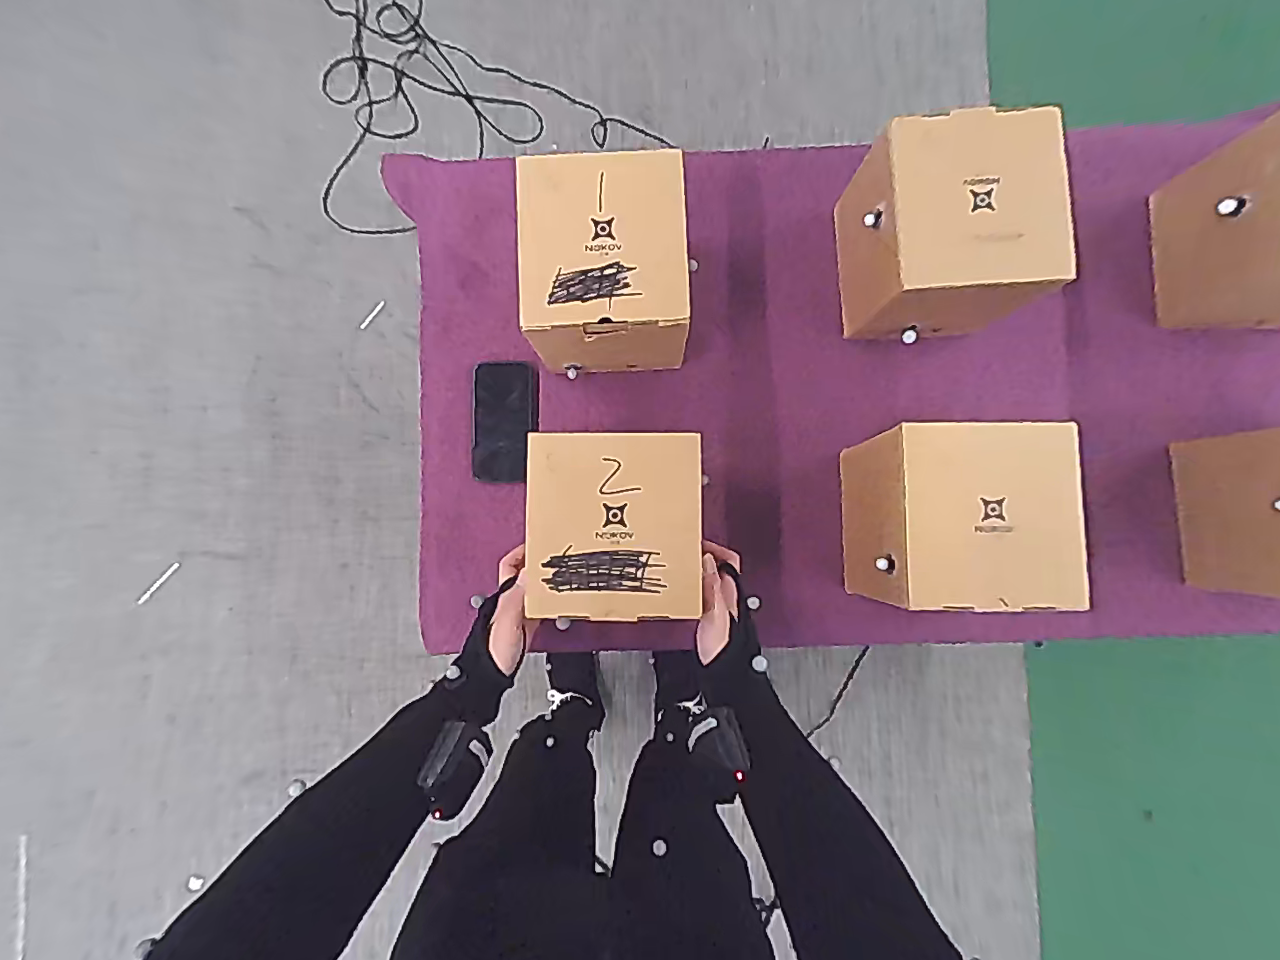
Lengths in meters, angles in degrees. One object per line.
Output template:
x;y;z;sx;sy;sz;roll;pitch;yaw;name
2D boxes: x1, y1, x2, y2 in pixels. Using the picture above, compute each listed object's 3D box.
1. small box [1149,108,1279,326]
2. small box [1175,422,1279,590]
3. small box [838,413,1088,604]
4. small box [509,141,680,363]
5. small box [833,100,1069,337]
0.710;-0.284;0.588;0.168;0.176;0.179;-1;85;2;small box
0.716;0.025;0.561;0.168;0.176;0.179;-3;86;2;small box
0.320;0.033;0.572;0.168;0.176;0.179;0;85;1;small box
-0.042;-0.233;0.598;0.168;0.176;0.179;-2;85;1;small box
0.322;-0.273;0.596;0.168;0.176;0.179;-2;86;2;small box
